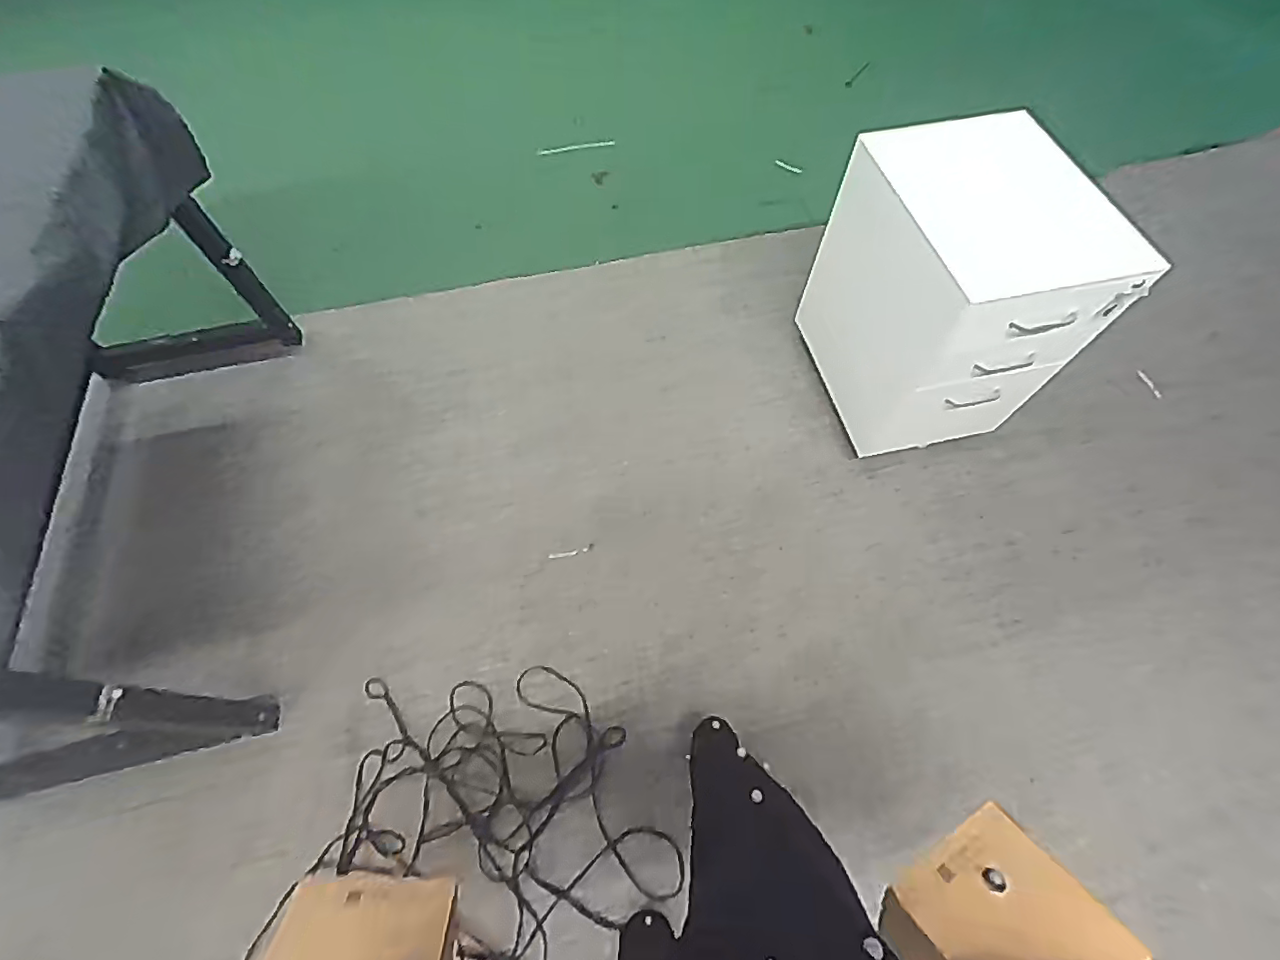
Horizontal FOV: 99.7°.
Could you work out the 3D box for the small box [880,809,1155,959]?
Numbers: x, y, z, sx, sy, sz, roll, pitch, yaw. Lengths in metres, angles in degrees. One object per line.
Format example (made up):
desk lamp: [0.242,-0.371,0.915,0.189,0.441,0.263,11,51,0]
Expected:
small box: [0.389,0.508,0.591,0.168,0.179,0.176,-25,35,-18]
